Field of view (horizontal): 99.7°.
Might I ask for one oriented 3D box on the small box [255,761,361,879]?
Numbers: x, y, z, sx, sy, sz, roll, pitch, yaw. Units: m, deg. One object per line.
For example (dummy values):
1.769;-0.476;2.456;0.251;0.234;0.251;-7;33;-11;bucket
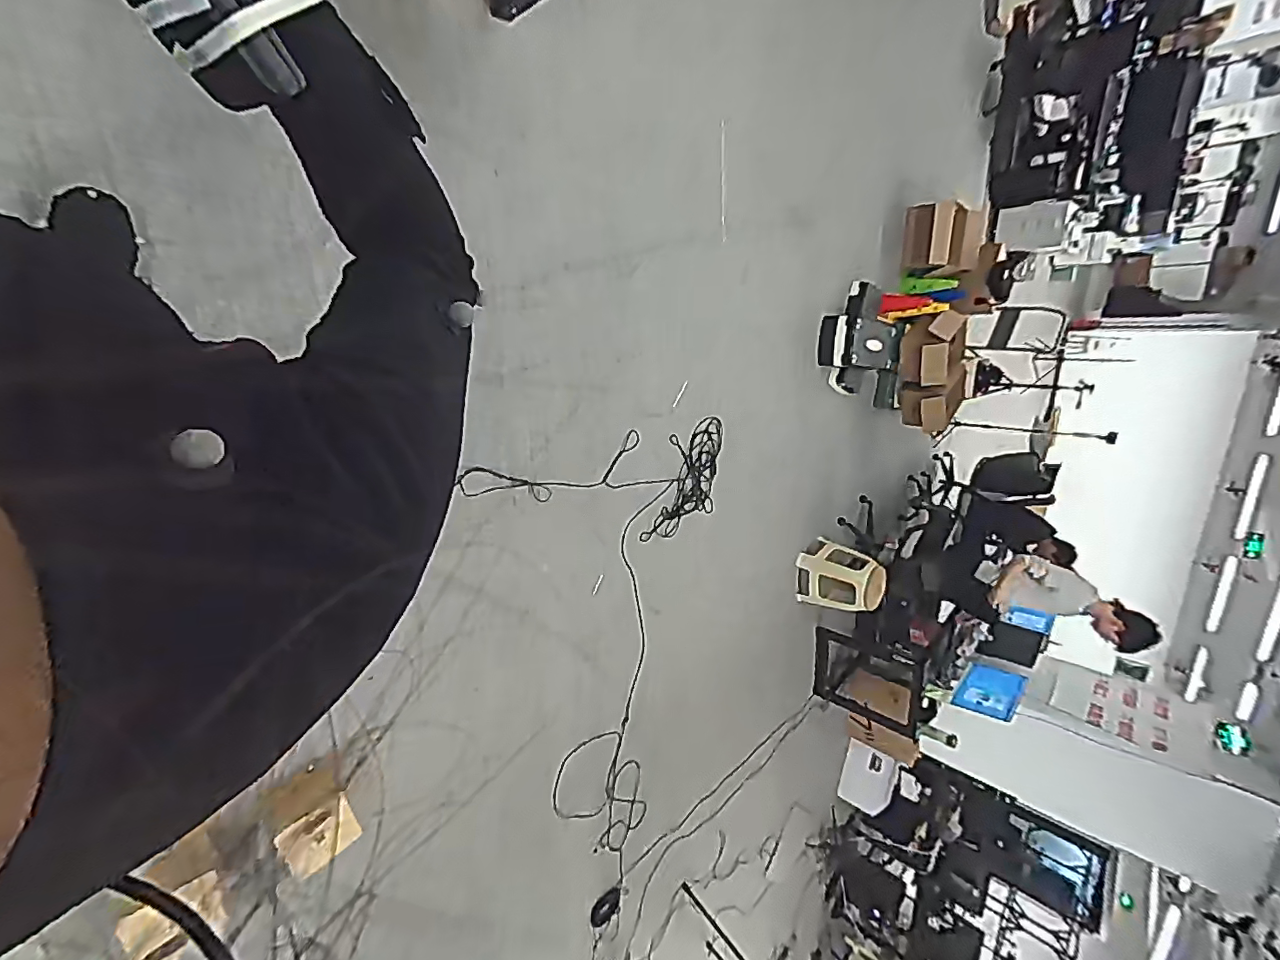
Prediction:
-0.870;0.873;1.414;0.168;0.176;0.179;-28;120;-39;small box
